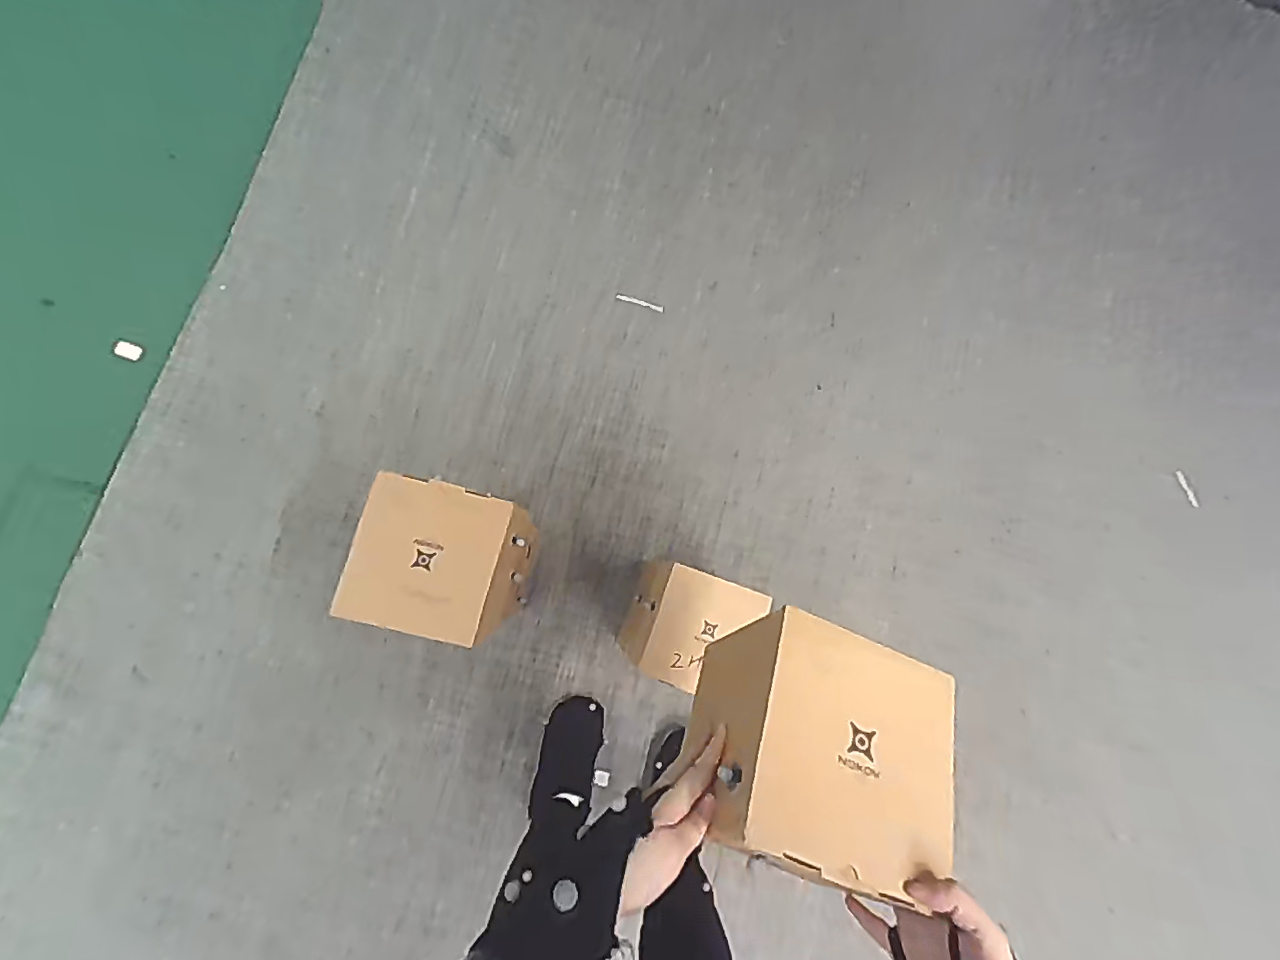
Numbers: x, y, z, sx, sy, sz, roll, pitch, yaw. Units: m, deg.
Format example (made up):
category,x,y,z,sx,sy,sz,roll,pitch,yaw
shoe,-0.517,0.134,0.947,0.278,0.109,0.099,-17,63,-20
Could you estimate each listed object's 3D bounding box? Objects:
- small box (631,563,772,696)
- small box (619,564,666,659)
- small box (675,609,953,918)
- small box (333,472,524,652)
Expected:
category,x,y,z,sx,sy,sz,roll,pitch,yaw
small box,0.091,0.245,0.887,0.168,0.176,0.179,20,80,-4
small box,0.066,0.271,1.048,0.168,0.176,0.179,22,80,-4
small box,0.147,0.243,0.485,0.168,0.176,0.179,24,59,-6
small box,-0.253,0.105,0.697,0.168,0.176,0.179,14,81,-4
